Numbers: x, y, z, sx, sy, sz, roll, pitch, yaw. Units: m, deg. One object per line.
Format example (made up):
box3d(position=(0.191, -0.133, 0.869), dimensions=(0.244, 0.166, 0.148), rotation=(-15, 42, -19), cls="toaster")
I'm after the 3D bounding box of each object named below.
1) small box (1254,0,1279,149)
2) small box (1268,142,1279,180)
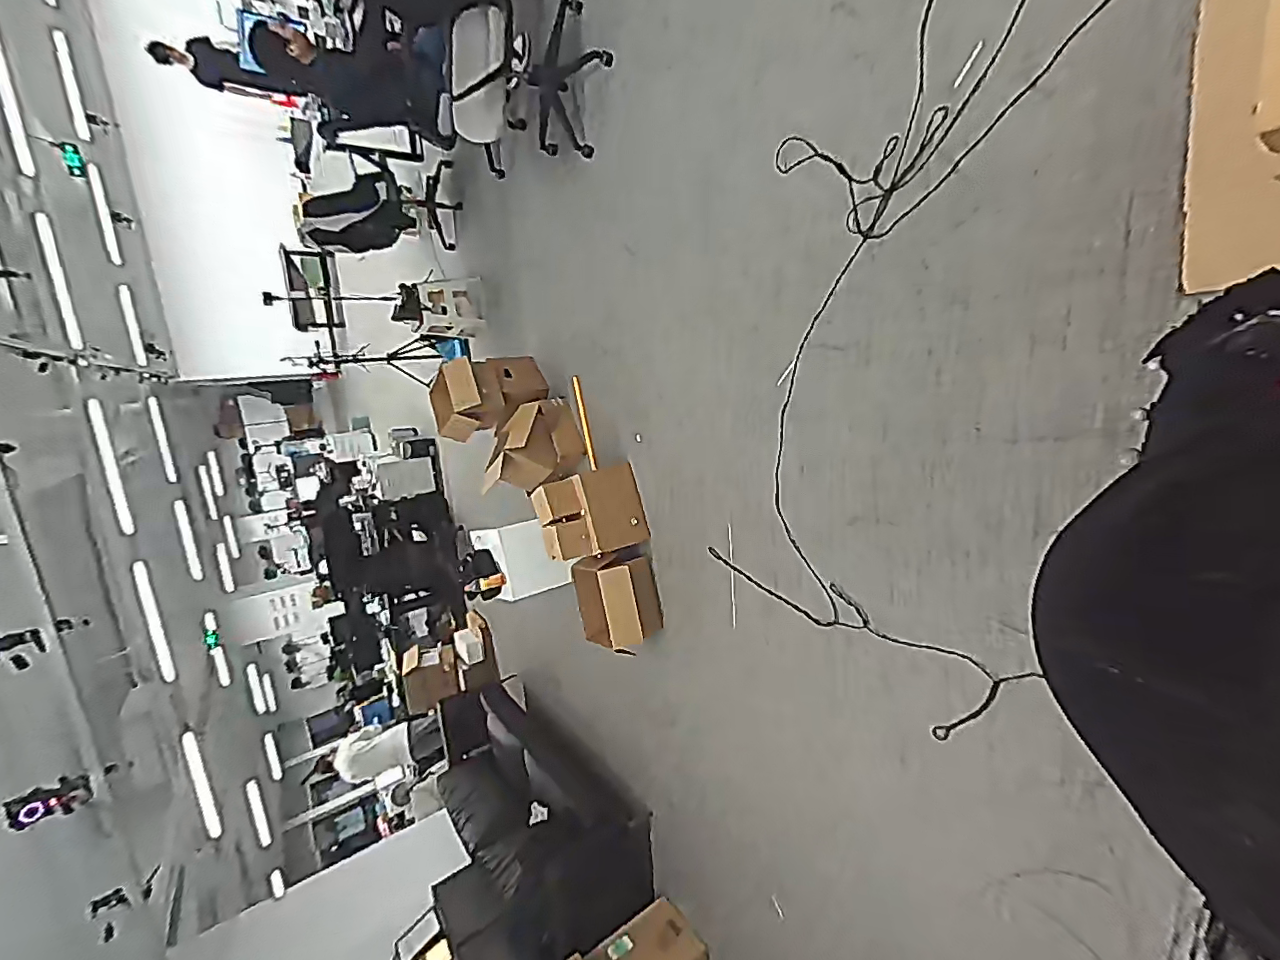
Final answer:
box3d(position=(0.957, -0.568, 0.715), dimensions=(0.168, 0.176, 0.179), rotation=(9, 107, 54), cls="small box")
box3d(position=(1.089, -0.569, 0.813), dimensions=(0.168, 0.176, 0.179), rotation=(5, 104, 55), cls="small box")
